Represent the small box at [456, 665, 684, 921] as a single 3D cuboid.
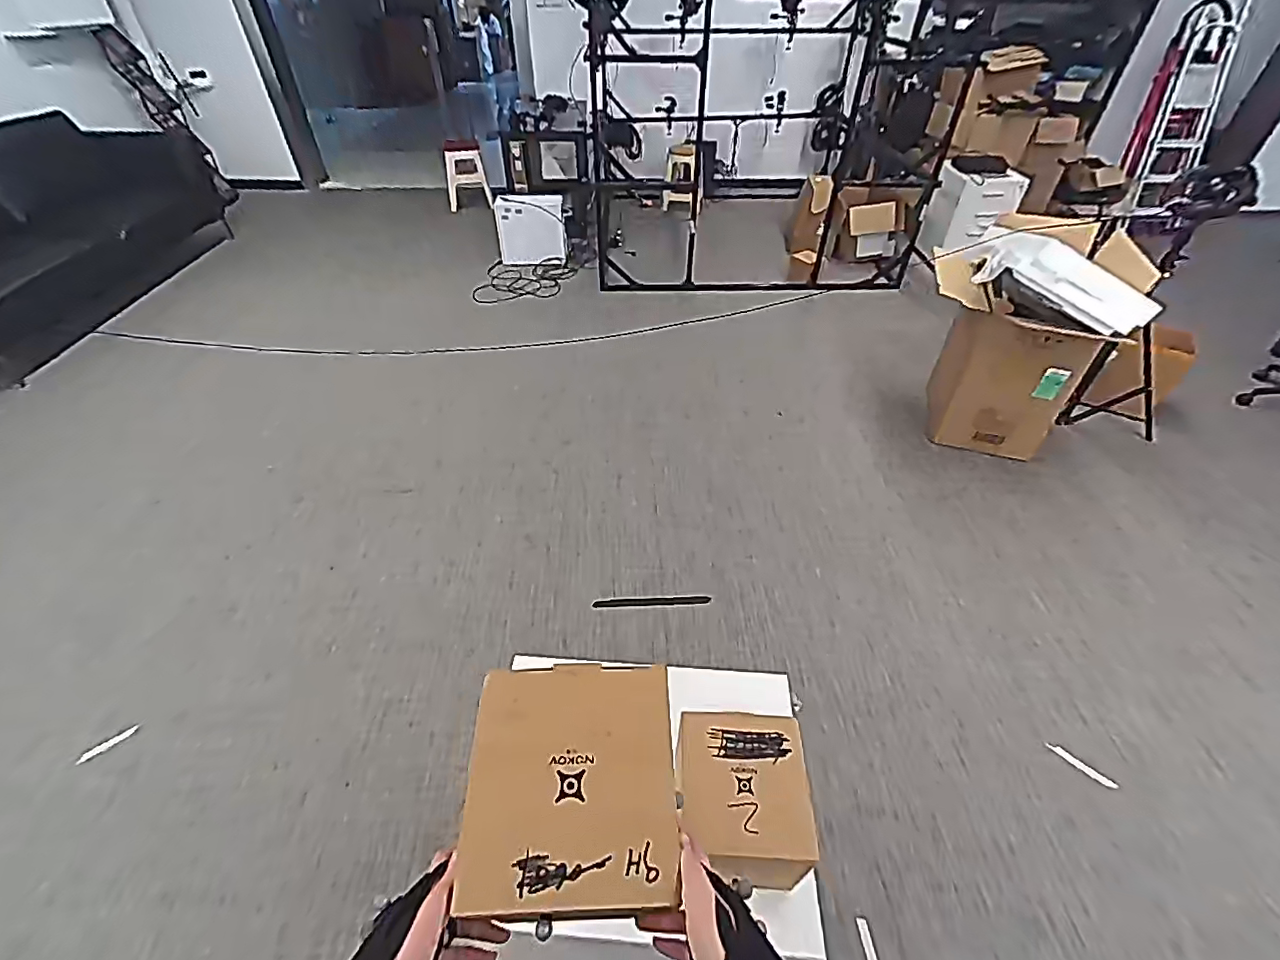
[{"bbox_3d":[-0.053,0.287,0.495,0.168,0.176,0.179,0,50,-2],"label":"small box"}]
